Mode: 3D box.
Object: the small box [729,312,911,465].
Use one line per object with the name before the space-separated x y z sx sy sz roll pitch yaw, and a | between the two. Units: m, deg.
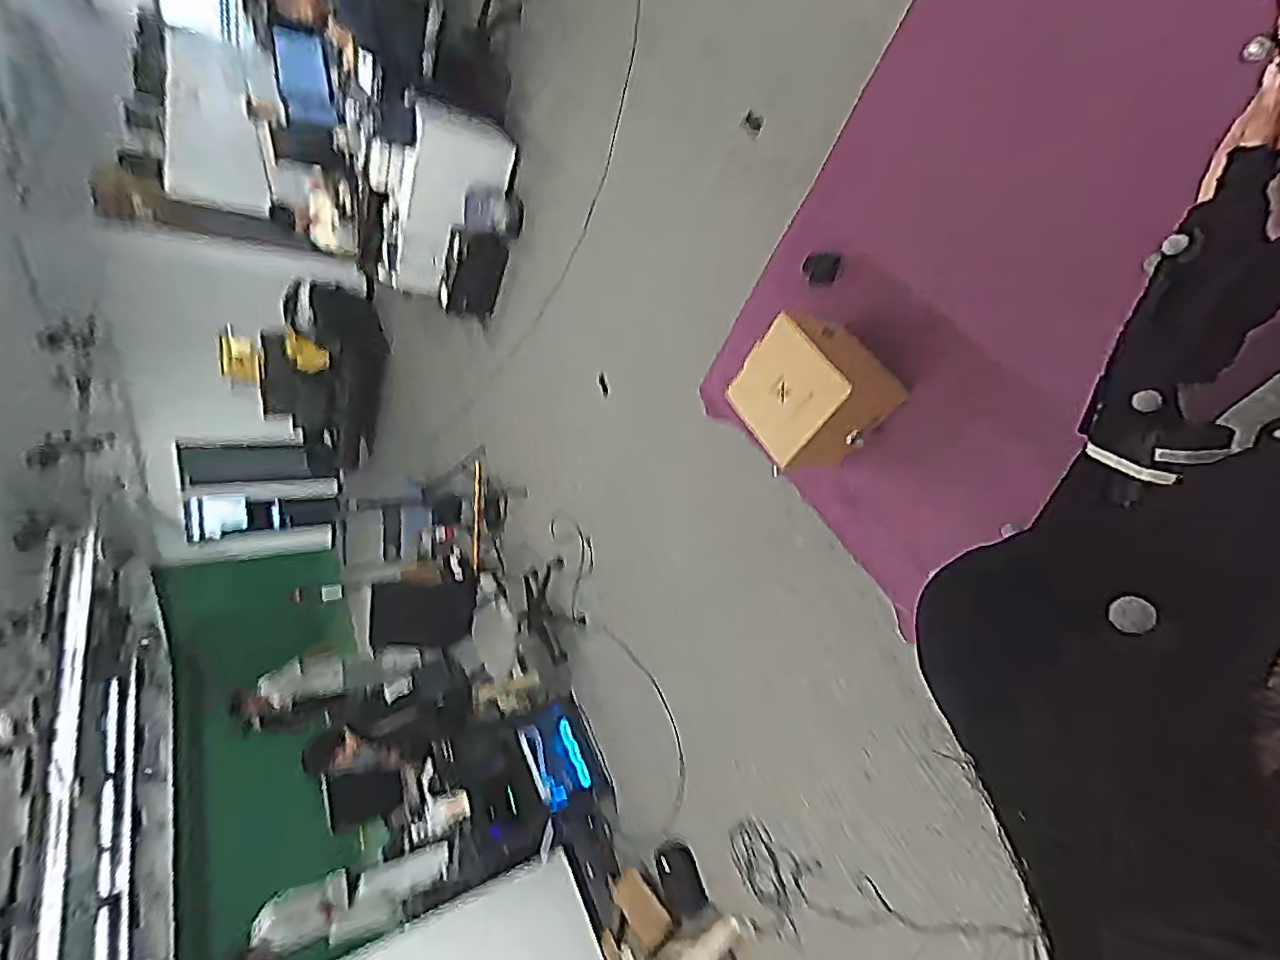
small box | 0.284 -0.141 0.865 0.179 0.176 0.168 59 137 29
